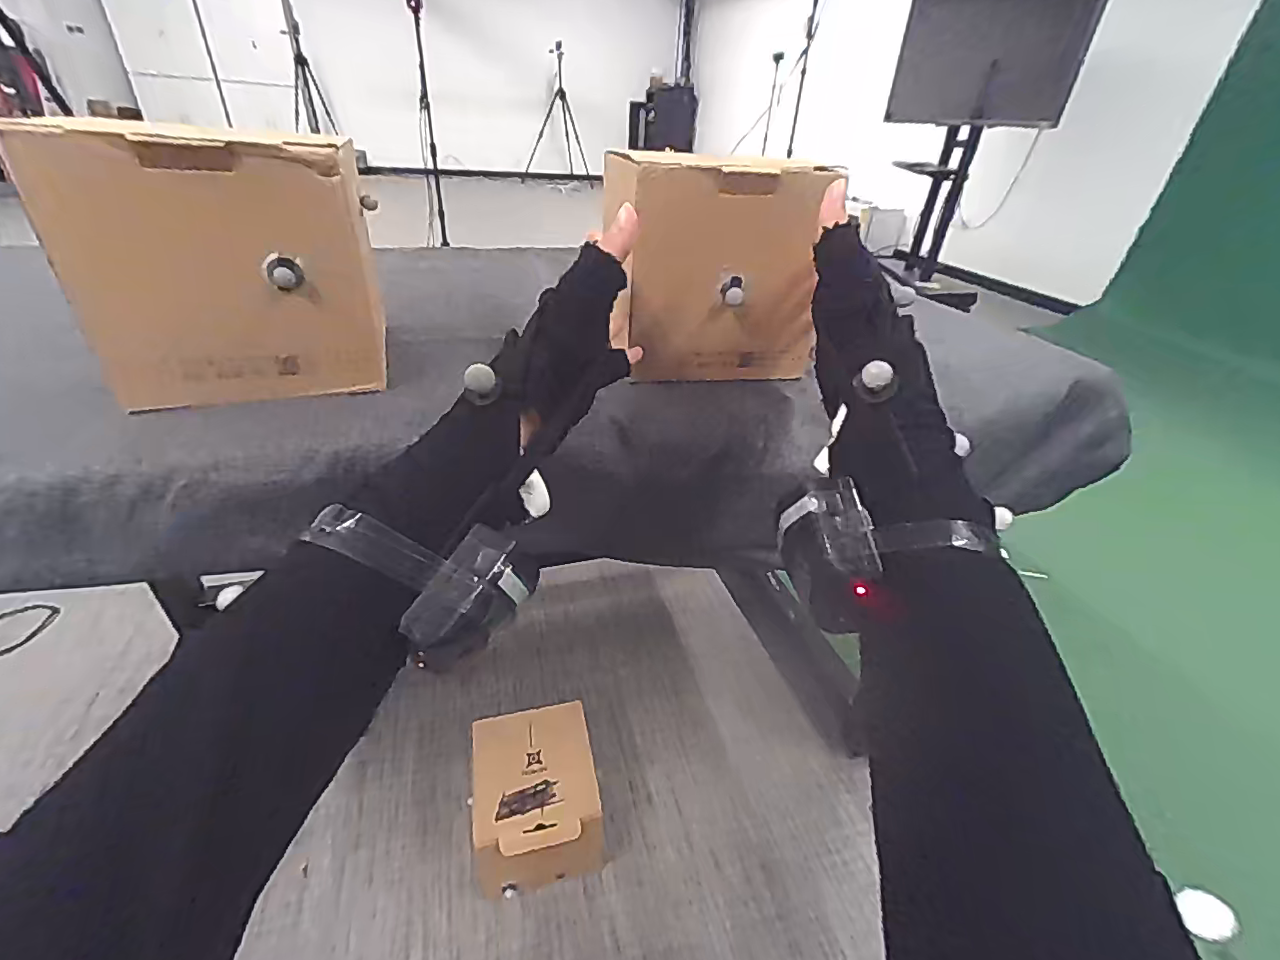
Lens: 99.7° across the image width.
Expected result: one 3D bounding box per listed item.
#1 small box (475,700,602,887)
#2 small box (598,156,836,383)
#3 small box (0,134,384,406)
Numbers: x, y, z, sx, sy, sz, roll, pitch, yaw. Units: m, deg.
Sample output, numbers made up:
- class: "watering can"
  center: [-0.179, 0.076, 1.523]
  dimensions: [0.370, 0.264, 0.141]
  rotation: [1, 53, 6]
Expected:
- class: "small box"
  center: [-0.150, 0.467, 0.803]
  dimensions: [0.168, 0.176, 0.179]
  rotation: [-6, 33, -13]
- class: "small box"
  center: [0.052, -0.197, 0.505]
  dimensions: [0.168, 0.176, 0.179]
  rotation: [-3, 34, -10]
- class: "small box"
  center: [-0.302, -0.162, 0.420]
  dimensions: [0.168, 0.176, 0.179]
  rotation: [-9, 33, -21]
